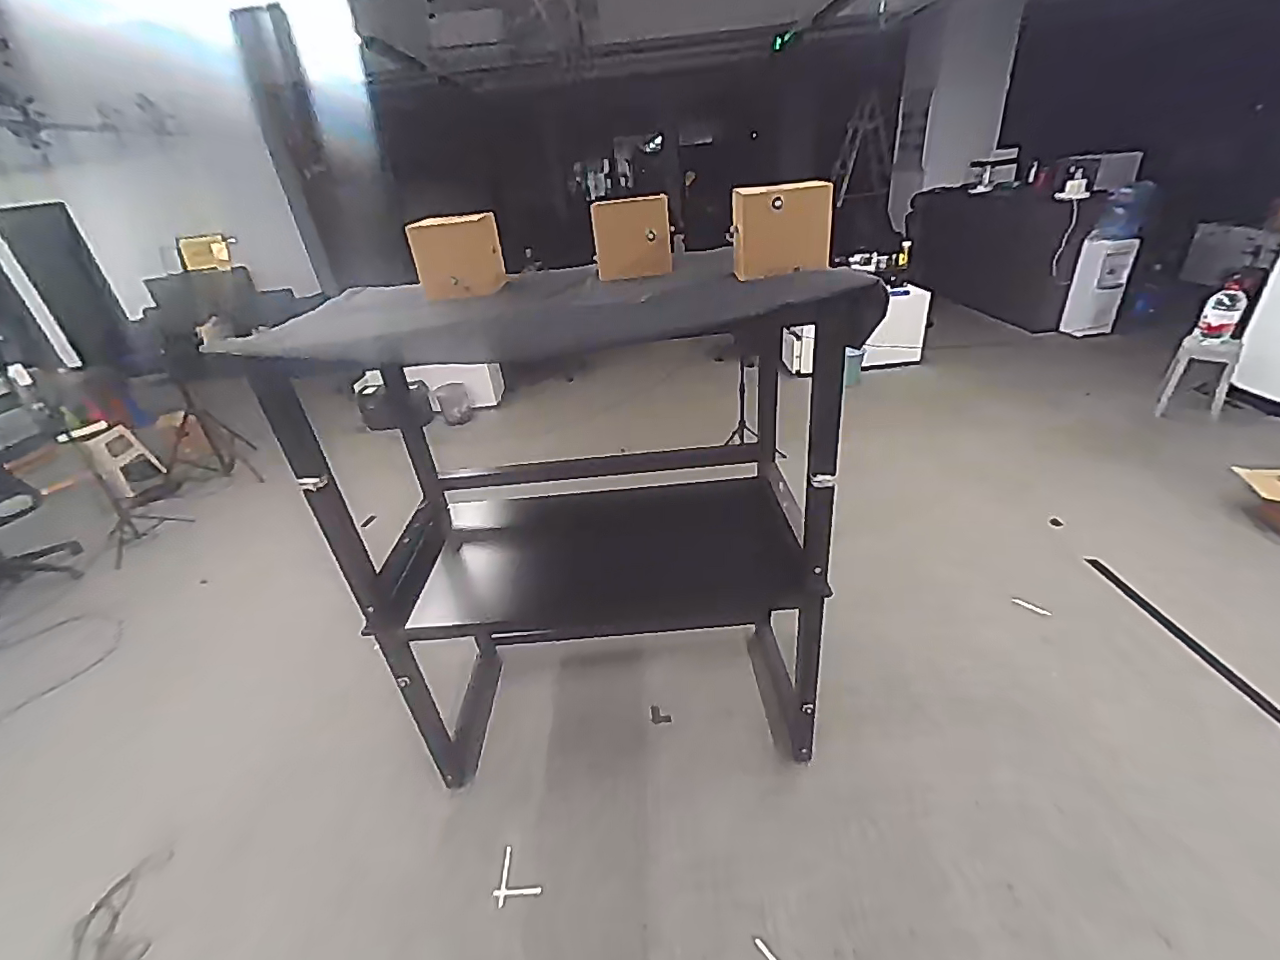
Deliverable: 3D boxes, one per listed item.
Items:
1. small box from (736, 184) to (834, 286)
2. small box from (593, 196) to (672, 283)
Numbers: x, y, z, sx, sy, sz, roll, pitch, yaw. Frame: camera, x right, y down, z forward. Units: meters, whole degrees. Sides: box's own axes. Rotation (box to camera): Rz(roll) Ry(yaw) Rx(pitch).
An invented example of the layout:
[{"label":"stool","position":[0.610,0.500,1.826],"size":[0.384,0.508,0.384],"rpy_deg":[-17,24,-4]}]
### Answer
[{"label":"small box","position":[0.284,-0.496,1.096],"size":[0.168,0.176,0.179],"rpy_deg":[-4,29,5]},{"label":"small box","position":[-0.012,-0.585,1.315],"size":[0.179,0.176,0.168],"rpy_deg":[-4,29,3]}]
